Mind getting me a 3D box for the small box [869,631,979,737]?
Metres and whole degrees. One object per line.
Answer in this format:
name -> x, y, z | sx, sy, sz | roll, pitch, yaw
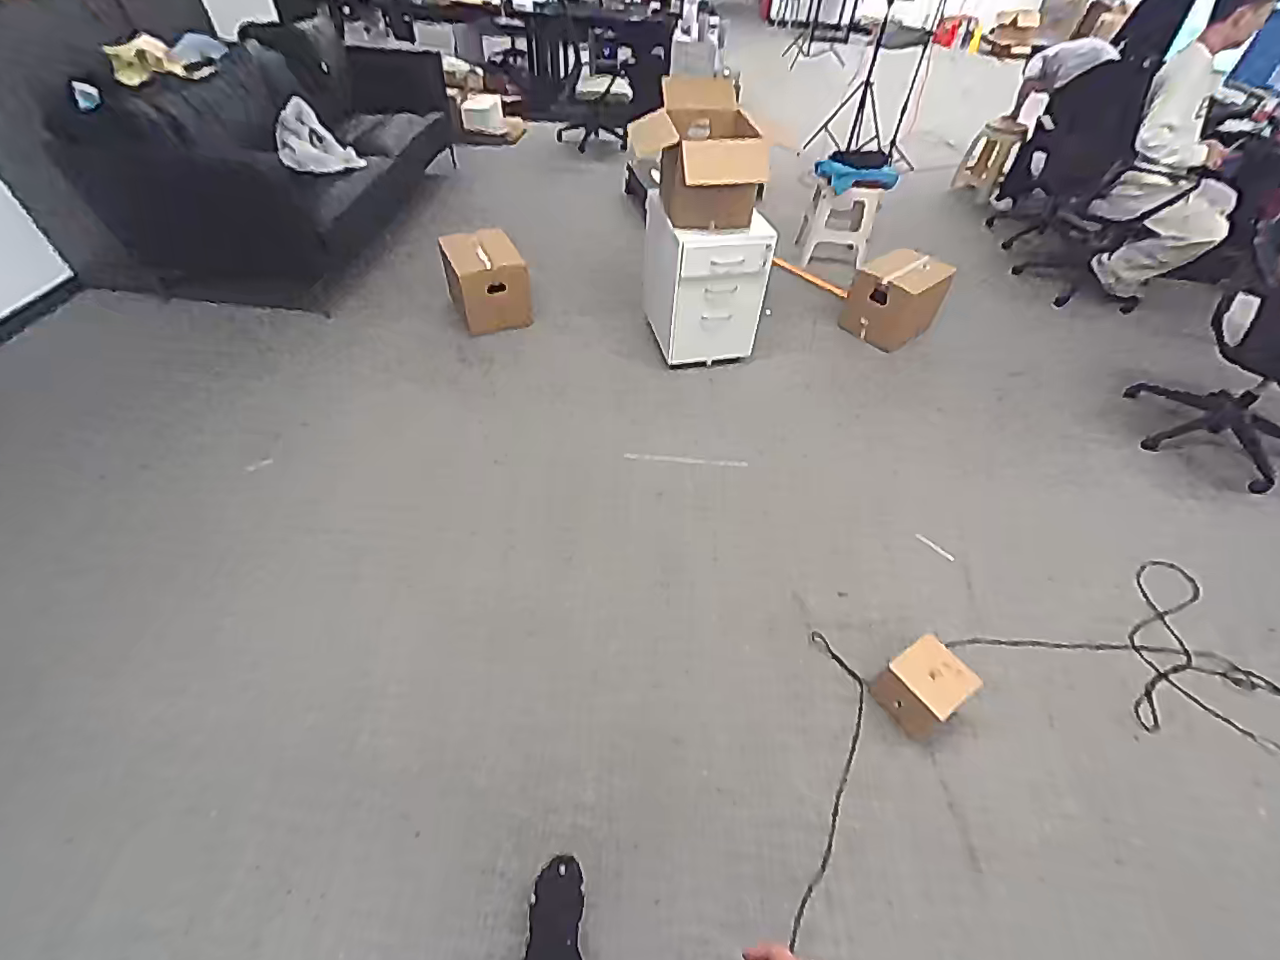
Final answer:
small box -> 0.732, 0.540, 1.421 | 0.179, 0.176, 0.168 | -25, 53, -24
